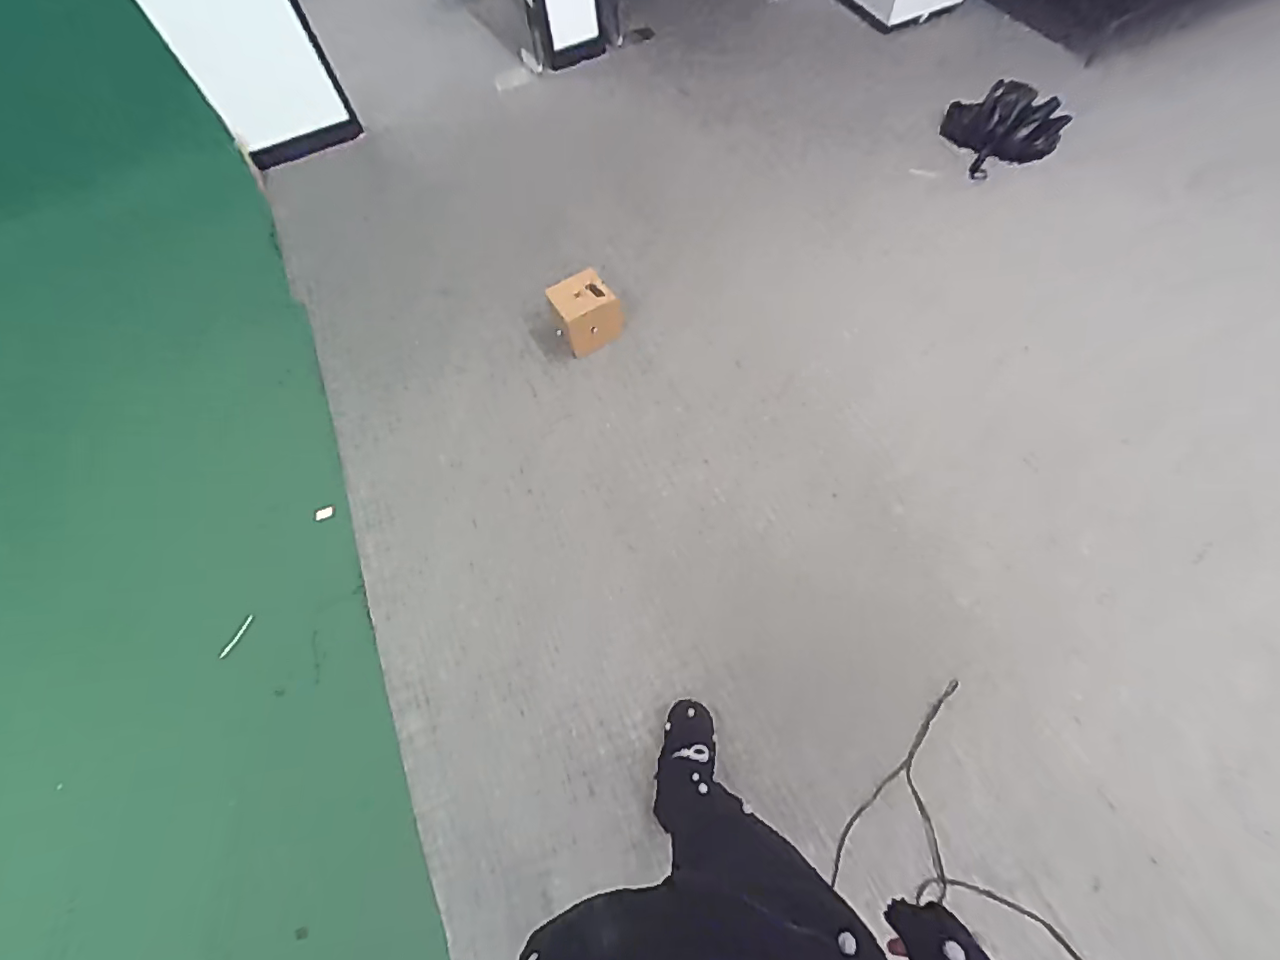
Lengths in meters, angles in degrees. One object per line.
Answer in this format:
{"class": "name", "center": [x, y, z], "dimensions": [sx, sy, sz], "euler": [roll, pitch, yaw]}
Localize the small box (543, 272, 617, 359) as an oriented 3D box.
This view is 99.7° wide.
{"class": "small box", "center": [-0.185, -0.526, 1.744], "dimensions": [0.179, 0.176, 0.168], "euler": [-32, 65, -13]}
